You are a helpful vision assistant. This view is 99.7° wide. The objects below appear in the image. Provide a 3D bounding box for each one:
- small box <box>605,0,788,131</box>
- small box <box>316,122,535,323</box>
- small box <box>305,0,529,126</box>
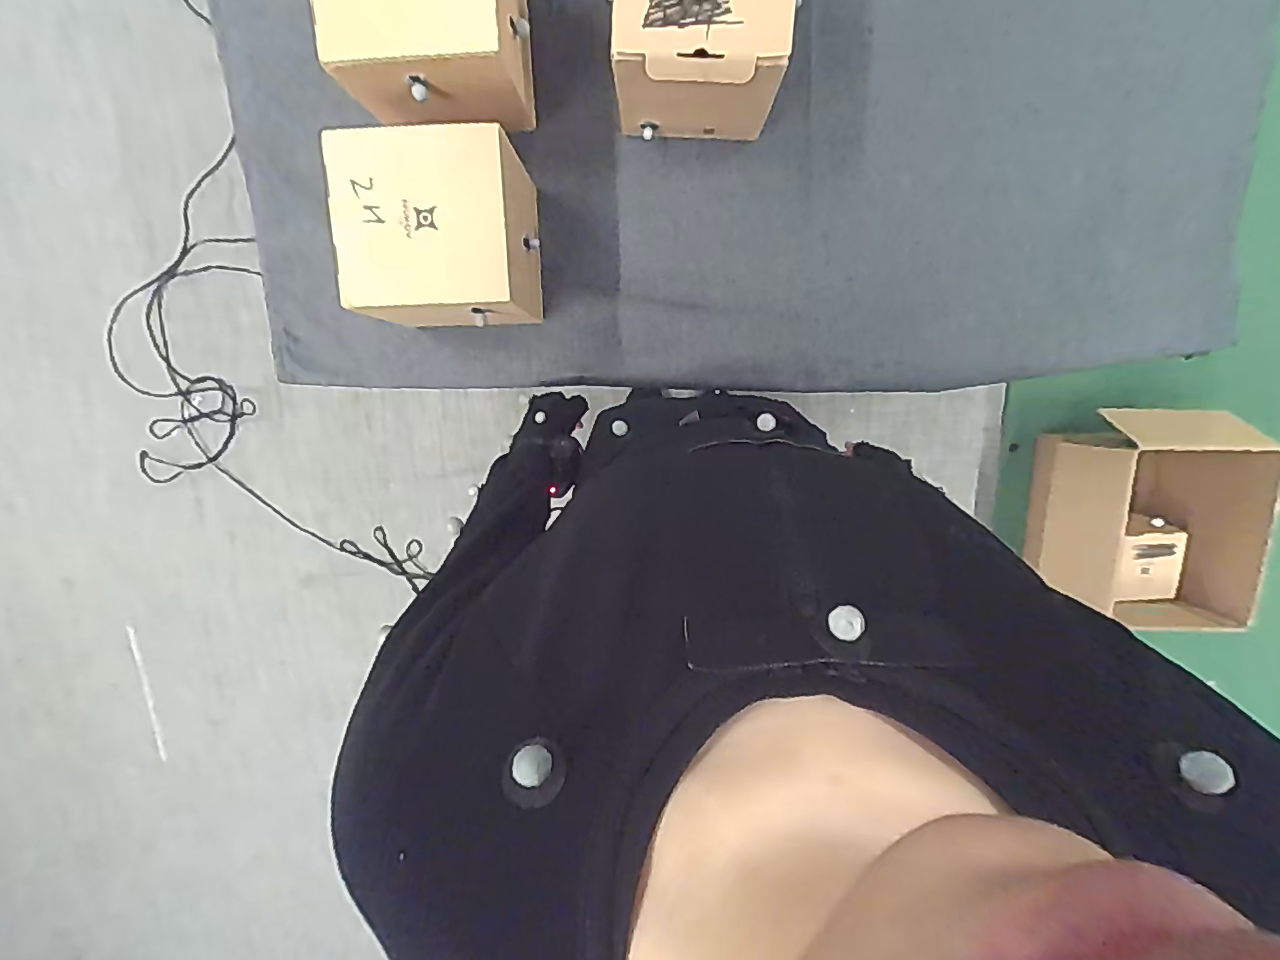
[{"bbox_3d":[0.057,-0.487,0.553,0.168,0.176,0.179,3,101,1],"label":"small box"},{"bbox_3d":[-0.218,-0.271,0.603,0.179,0.176,0.168,-1,100,2],"label":"small box"},{"bbox_3d":[-0.220,-0.492,0.565,0.179,0.176,0.168,-2,101,3],"label":"small box"}]
